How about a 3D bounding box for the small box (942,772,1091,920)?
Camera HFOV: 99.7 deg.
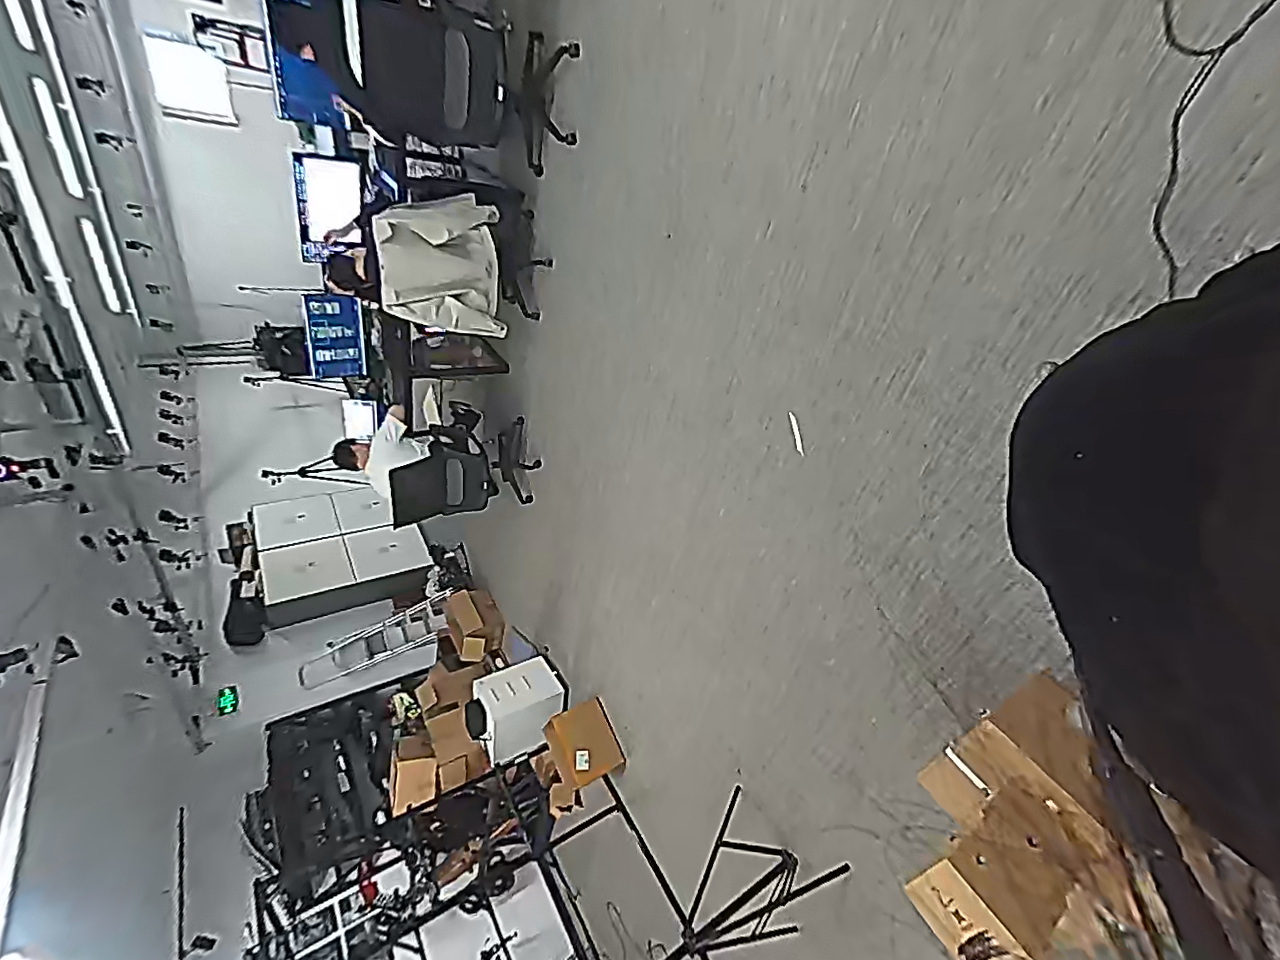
[{"bbox_3d":[0.802,0.772,1.154,0.179,0.176,0.168,48,135,39],"label":"small box"}]
